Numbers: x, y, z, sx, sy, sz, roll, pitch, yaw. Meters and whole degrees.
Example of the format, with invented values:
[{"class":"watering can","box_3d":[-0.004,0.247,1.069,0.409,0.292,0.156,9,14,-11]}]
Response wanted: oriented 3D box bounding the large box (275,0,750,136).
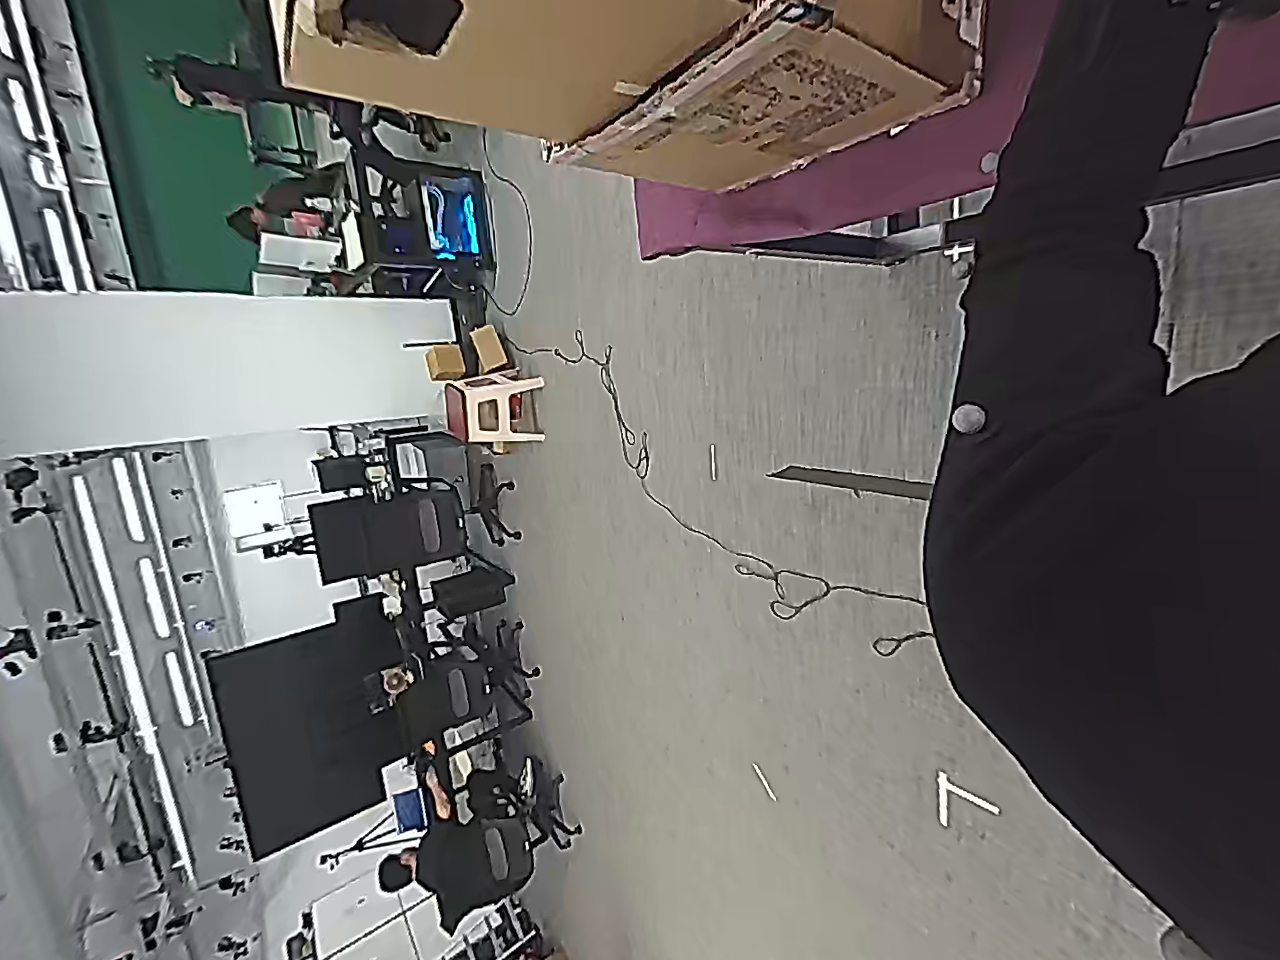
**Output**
[{"class":"large box","box_3d":[-0.125,-0.564,0.416,0.320,0.320,0.408,12,110,55]}]
